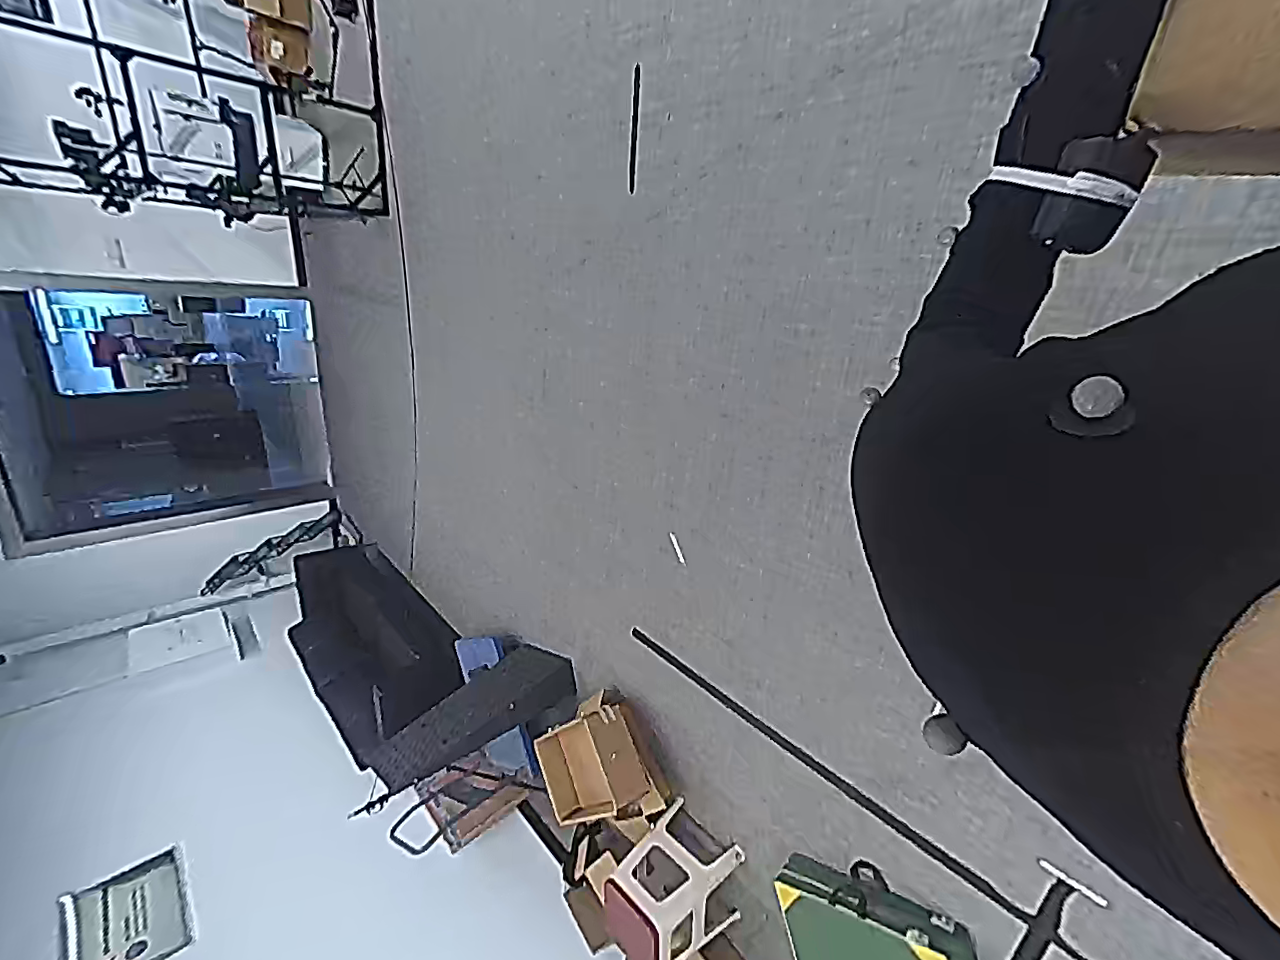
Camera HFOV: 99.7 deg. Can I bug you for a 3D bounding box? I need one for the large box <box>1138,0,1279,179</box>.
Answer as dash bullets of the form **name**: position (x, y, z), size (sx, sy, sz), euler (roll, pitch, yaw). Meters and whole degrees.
- **large box**: position (0.575, -0.350, 0.277), size (0.408, 0.320, 0.320), euler (23, 123, 37)
